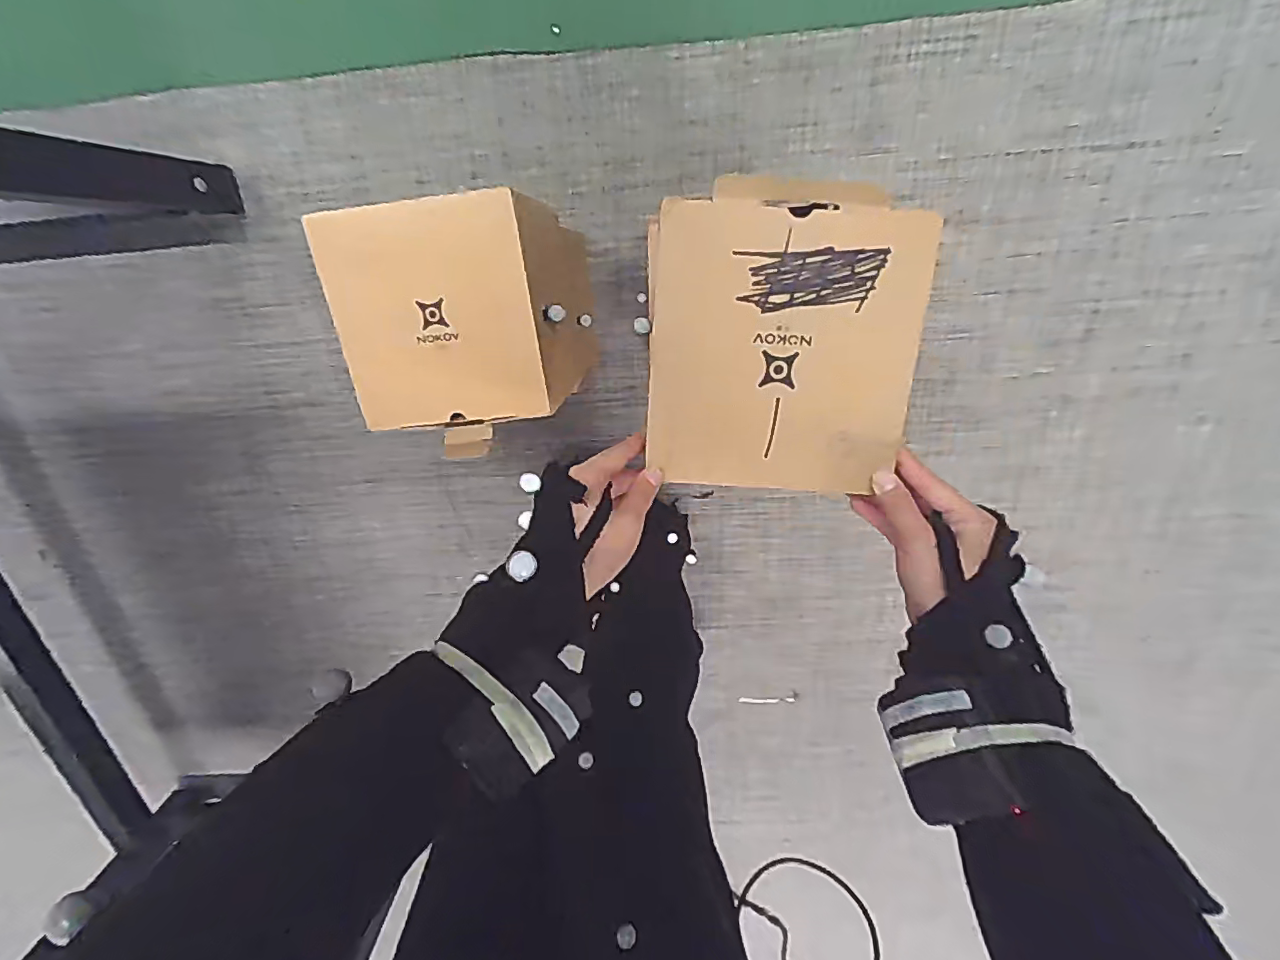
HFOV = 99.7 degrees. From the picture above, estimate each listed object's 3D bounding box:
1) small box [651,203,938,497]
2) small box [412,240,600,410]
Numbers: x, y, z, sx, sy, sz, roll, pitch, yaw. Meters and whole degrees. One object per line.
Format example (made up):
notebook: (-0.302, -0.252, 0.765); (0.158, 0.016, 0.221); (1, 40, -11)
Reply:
small box: (0.095, -0.098, 0.421); (0.168, 0.176, 0.179); (4, 105, 2)
small box: (-0.148, -0.196, 0.670); (0.168, 0.176, 0.179); (-3, 112, 6)
